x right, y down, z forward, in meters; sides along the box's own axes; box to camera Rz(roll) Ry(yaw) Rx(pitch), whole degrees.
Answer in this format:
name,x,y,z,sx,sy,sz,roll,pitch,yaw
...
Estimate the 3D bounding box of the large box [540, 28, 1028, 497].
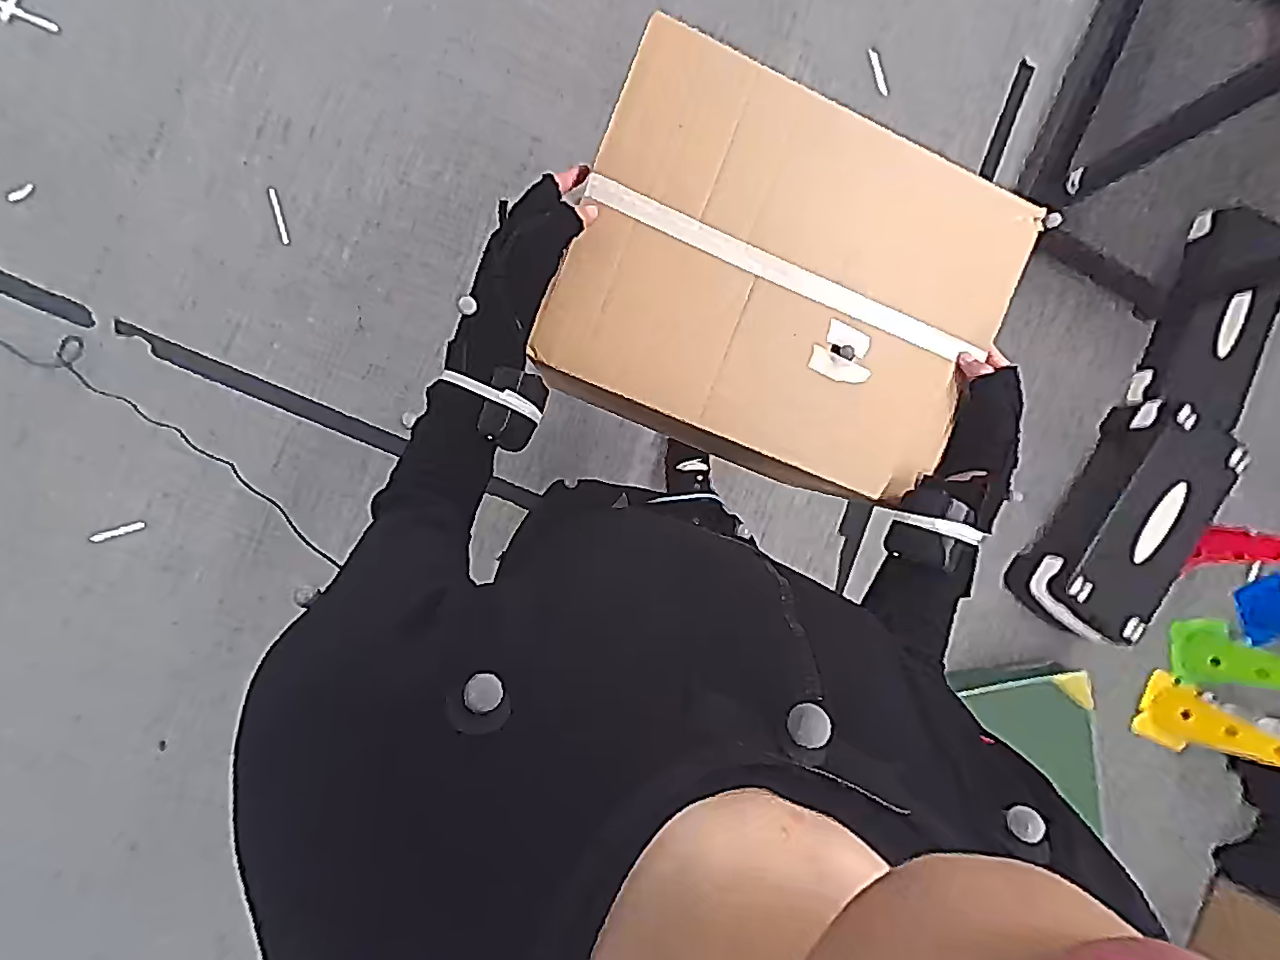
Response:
name,x,y,z,sx,sy,sz,roll,pitch,yaw
large box,0.125,-0.203,0.653,0.408,0.320,0.320,21,93,-8
